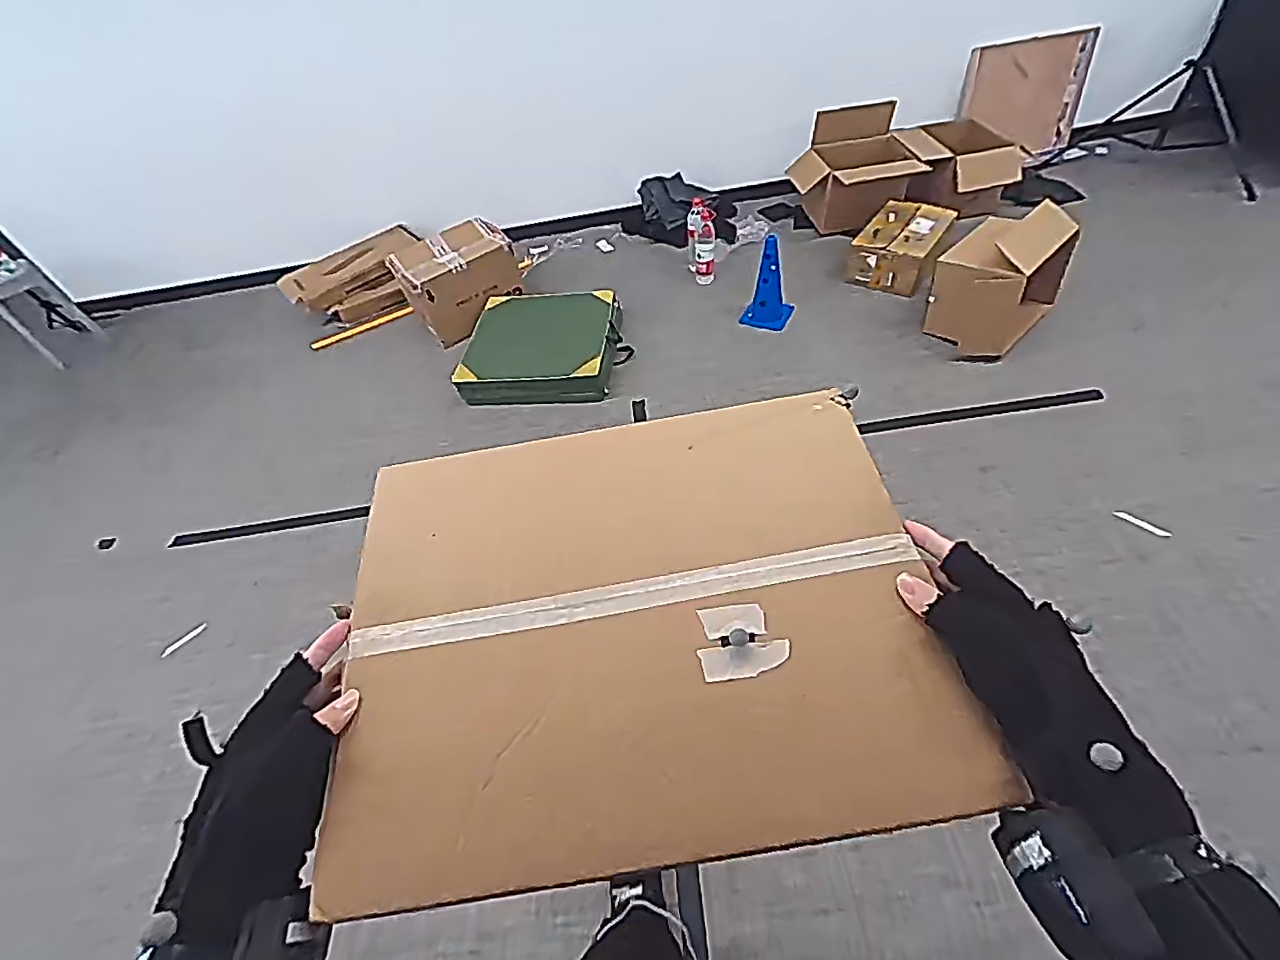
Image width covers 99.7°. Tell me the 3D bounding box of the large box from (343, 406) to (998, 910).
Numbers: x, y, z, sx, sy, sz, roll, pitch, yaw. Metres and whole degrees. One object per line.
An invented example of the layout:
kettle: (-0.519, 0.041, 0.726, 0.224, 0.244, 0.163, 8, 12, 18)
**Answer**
large box: (0.010, 0.174, 0.522, 0.408, 0.320, 0.320, -9, 56, 0)
